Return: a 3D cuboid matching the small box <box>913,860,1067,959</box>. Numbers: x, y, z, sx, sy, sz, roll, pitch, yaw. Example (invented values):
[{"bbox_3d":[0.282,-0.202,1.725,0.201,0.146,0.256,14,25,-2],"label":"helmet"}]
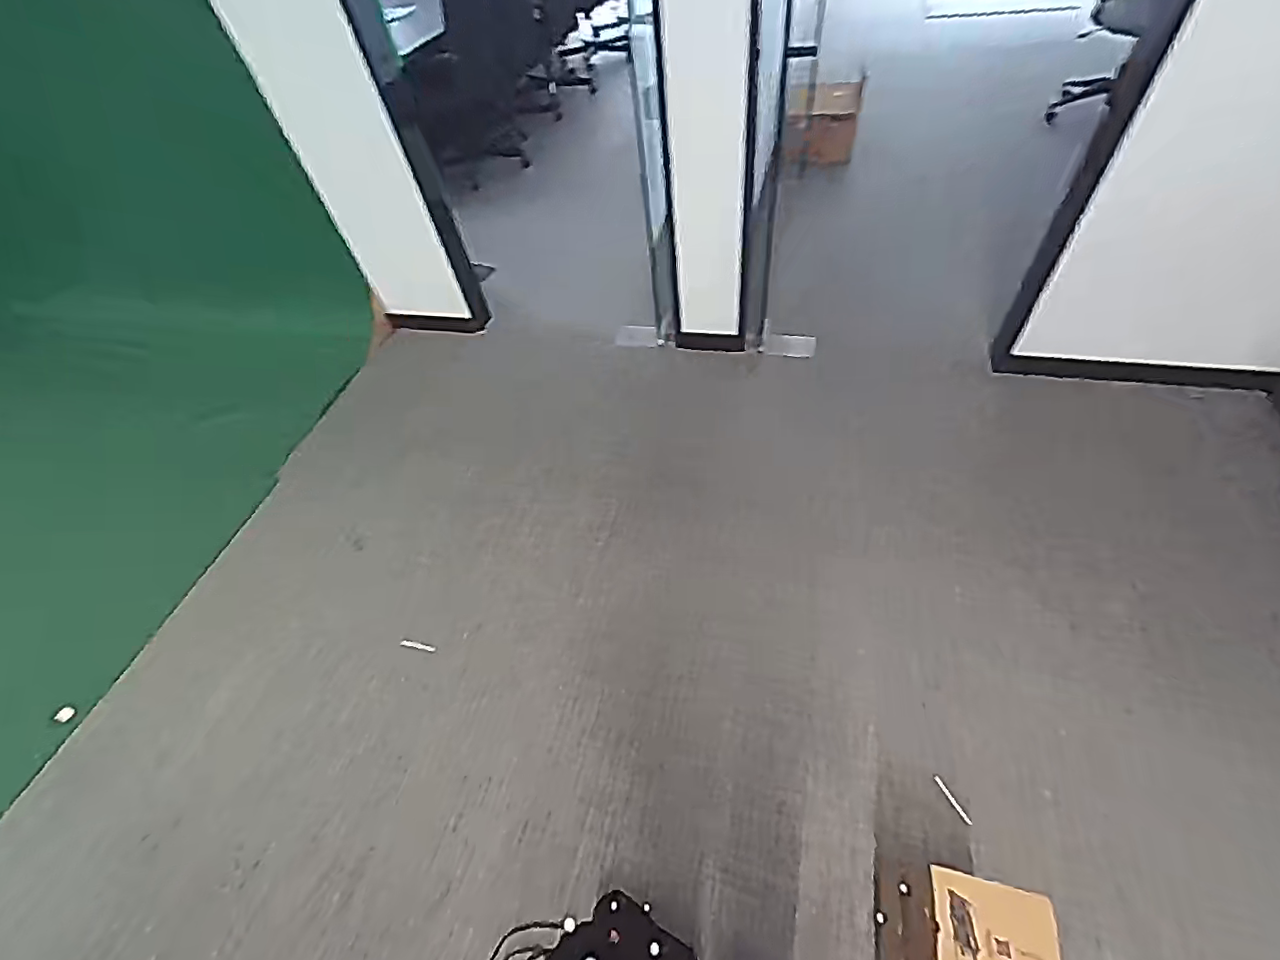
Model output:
[{"bbox_3d":[0.558,0.749,0.882,0.179,0.176,0.168,8,54,14],"label":"small box"}]
